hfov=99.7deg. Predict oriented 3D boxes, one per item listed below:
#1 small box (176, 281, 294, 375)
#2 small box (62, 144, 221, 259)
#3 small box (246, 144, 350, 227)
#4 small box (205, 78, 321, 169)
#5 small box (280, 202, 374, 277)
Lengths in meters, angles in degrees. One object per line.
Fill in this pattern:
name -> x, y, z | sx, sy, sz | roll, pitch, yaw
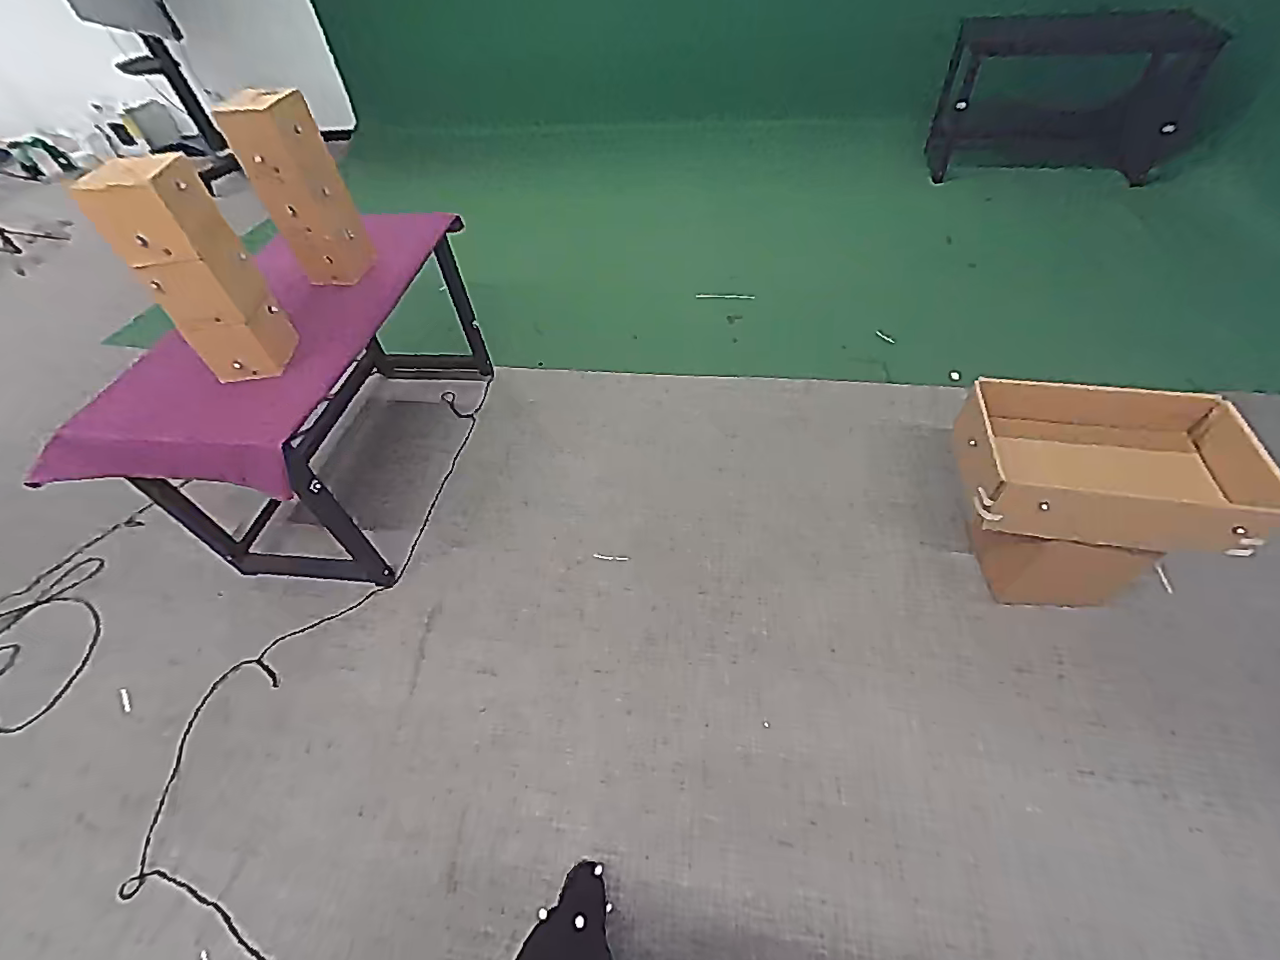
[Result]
small box -> -1.065, -0.404, 1.444 | 0.168, 0.176, 0.179 | -7, 51, -1
small box -> -1.079, -0.614, 1.194 | 0.168, 0.176, 0.179 | -8, 51, -2
small box -> -1.007, -0.874, 1.612 | 0.168, 0.176, 0.179 | 4, 53, 7
small box -> -1.020, -0.979, 1.485 | 0.168, 0.176, 0.179 | 3, 52, 7
small box -> -0.994, -0.772, 1.739 | 0.168, 0.176, 0.179 | 5, 52, 9
